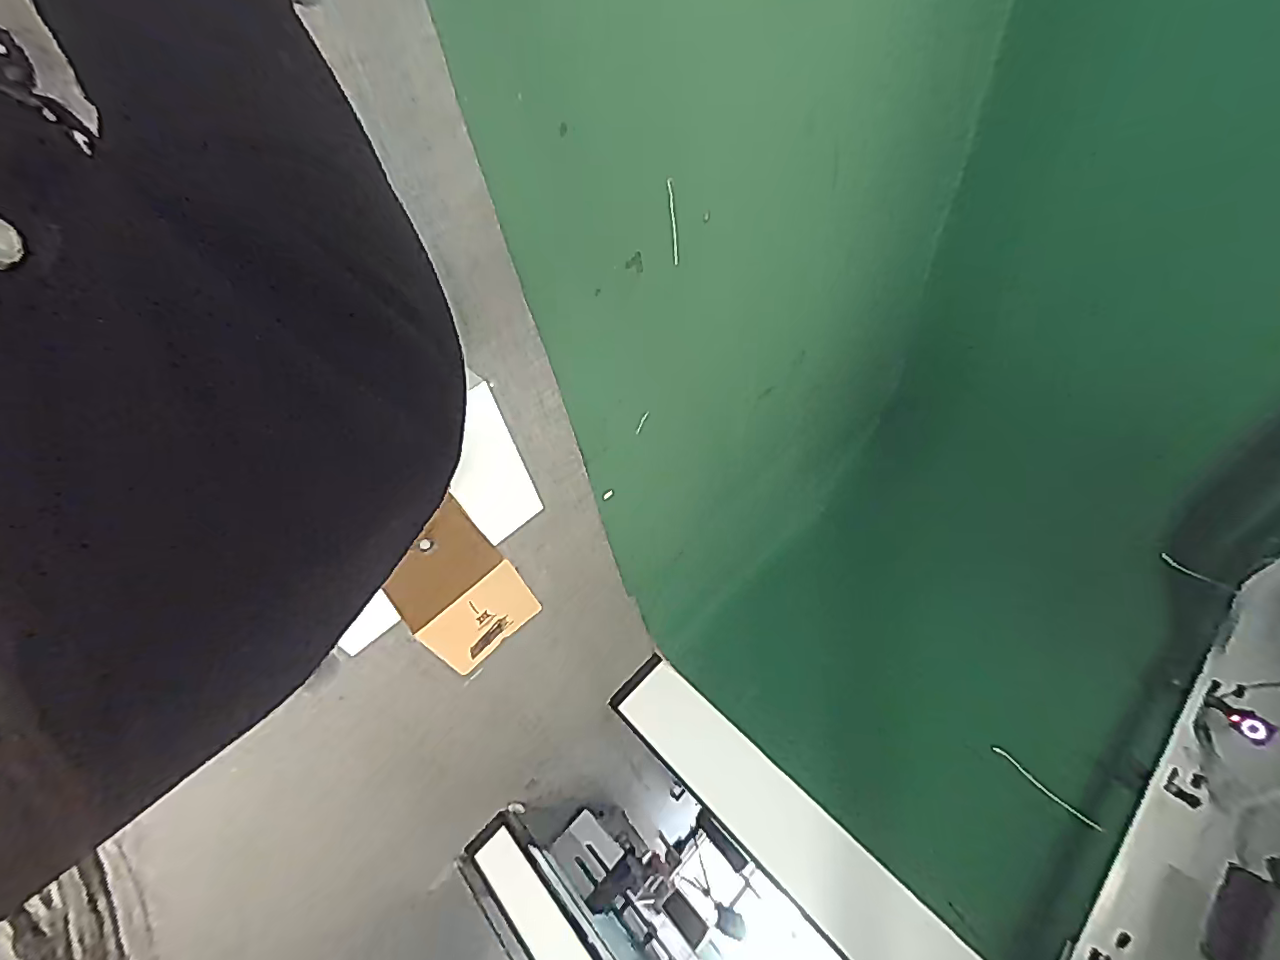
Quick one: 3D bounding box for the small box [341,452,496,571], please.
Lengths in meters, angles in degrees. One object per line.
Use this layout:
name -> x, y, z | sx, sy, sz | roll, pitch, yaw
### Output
small box -> -0.396, 0.086, 0.962 | 0.179, 0.176, 0.168 | -42, 146, -18

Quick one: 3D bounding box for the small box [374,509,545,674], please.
small box -> -0.288, 0.177, 0.878 | 0.168, 0.176, 0.179 | -41, 148, -16
